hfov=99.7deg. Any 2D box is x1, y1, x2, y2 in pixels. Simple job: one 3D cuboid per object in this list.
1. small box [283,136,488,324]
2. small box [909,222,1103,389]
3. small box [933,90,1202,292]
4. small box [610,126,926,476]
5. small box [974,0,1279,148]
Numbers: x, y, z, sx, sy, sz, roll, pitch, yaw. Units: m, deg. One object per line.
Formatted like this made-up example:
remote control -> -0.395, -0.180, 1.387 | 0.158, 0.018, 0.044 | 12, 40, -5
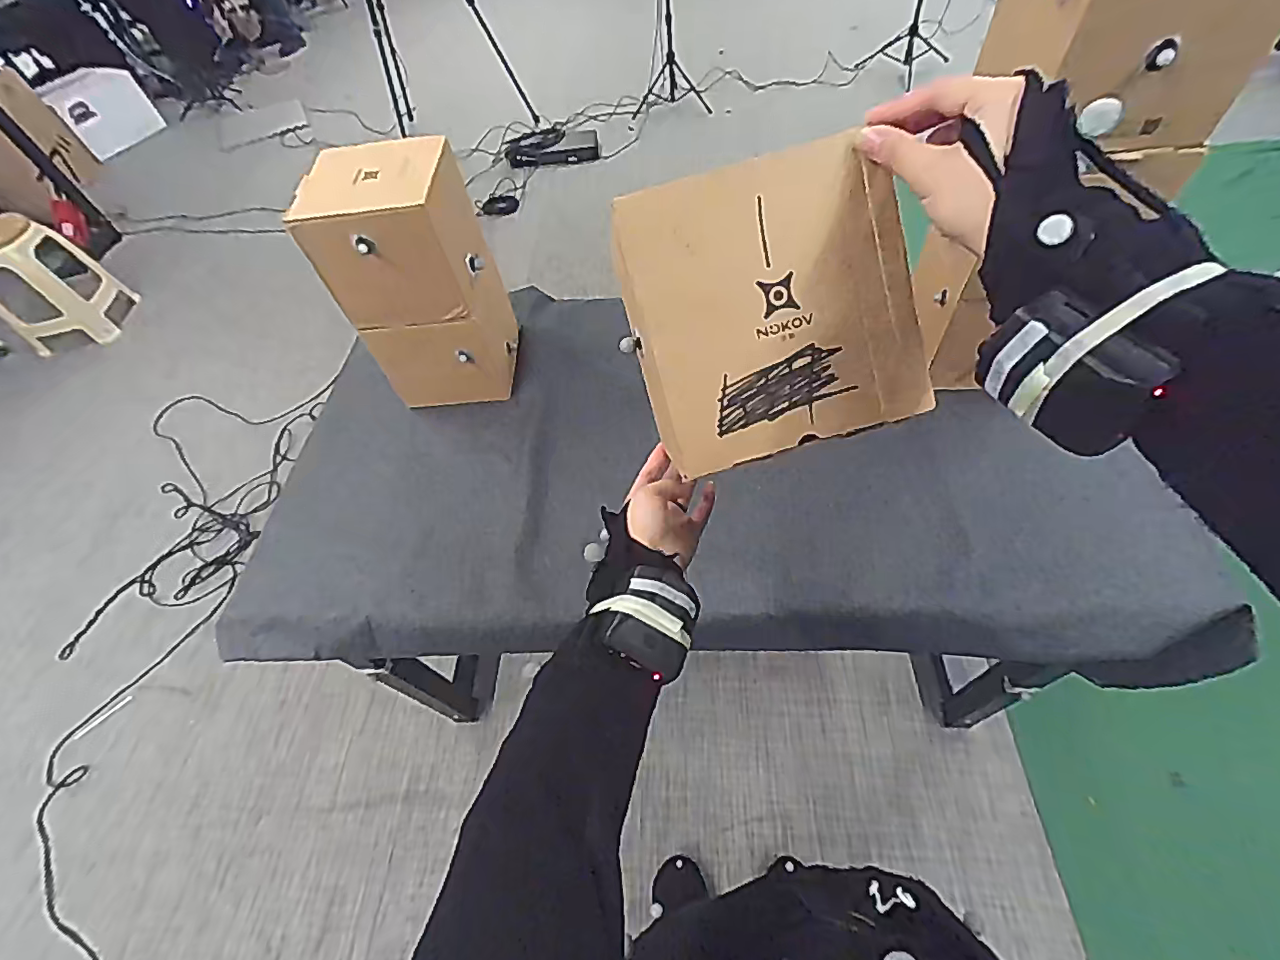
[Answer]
small box -> -0.325, -0.330, 0.732 | 0.179, 0.176, 0.168 | -4, 57, 3
small box -> 0.492, -0.251, 0.771 | 0.168, 0.176, 0.179 | 0, 57, 8
small box -> 0.470, -0.338, 0.634 | 0.168, 0.176, 0.179 | 0, 58, 8
small box -> 0.080, -0.118, 0.407 | 0.168, 0.179, 0.176 | -15, 10, 1
small box -> 0.445, -0.429, 0.498 | 0.168, 0.176, 0.179 | -1, 56, 7
